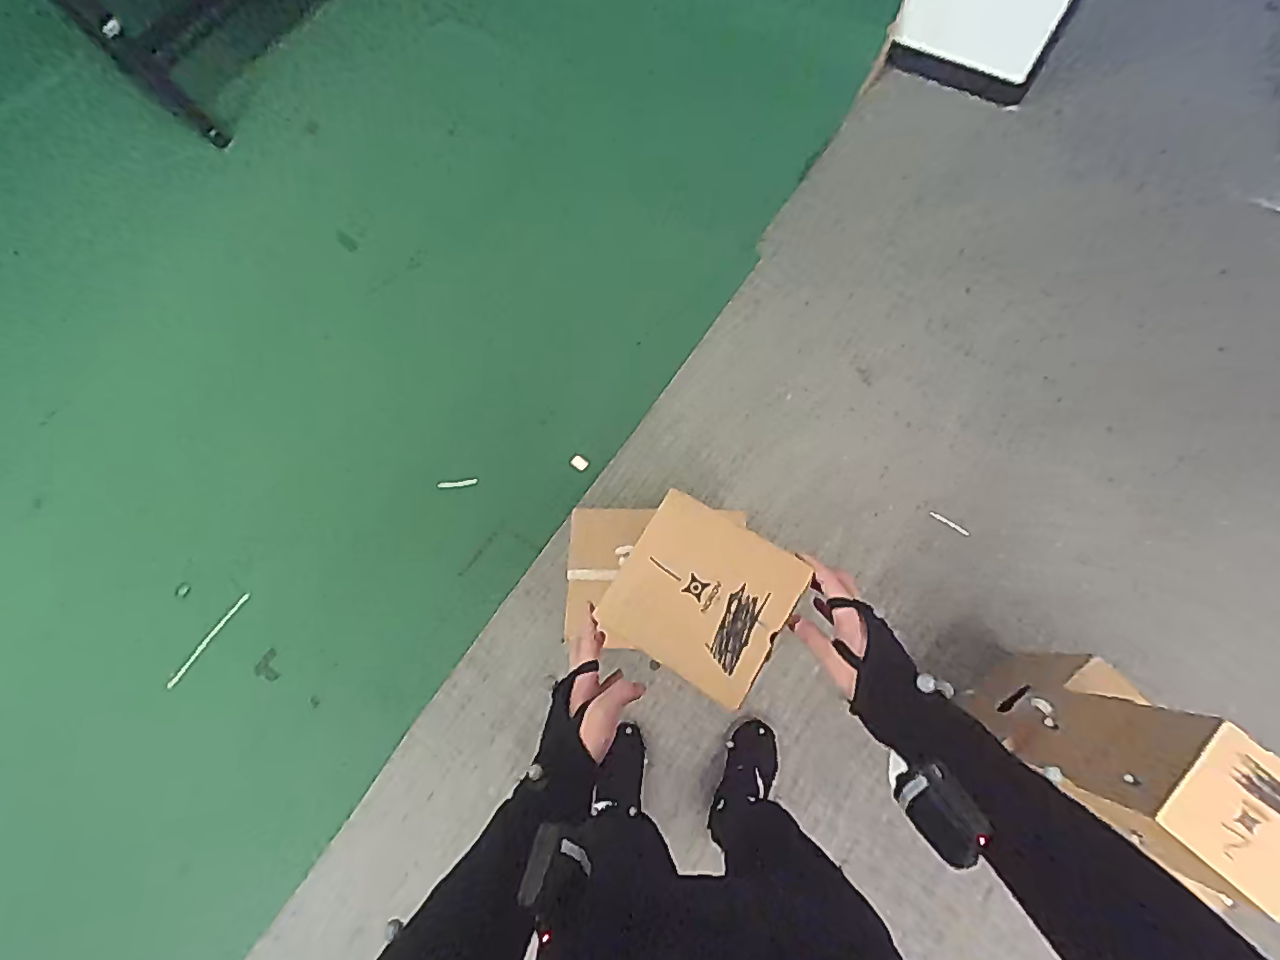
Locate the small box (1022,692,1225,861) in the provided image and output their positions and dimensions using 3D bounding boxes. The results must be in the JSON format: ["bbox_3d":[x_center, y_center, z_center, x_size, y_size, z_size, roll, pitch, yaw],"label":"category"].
[{"bbox_3d":[0.813,0.496,0.936,0.168,0.176,0.179,43,82,15],"label":"small box"}]

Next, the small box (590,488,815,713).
[{"bbox_3d":[0.072,0.136,0.628,0.179,0.176,0.168,31,80,15],"label":"small box"}]

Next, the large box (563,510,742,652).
[{"bbox_3d":[0.048,0.263,1.340,0.408,0.320,0.320,0,72,6],"label":"large box"}]
